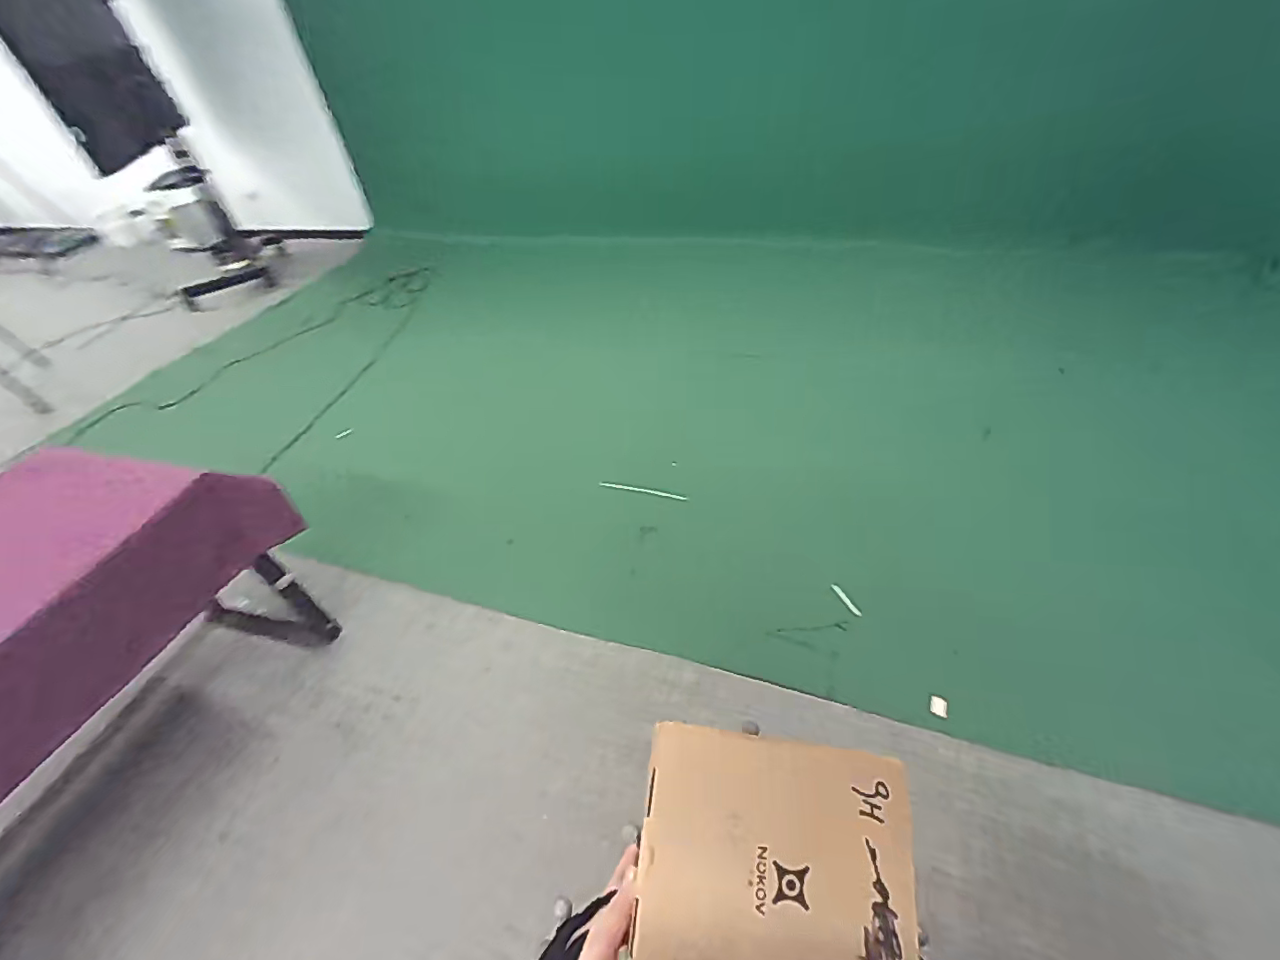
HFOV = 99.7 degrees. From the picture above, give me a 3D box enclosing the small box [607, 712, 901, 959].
[{"bbox_3d":[0.078,0.287,0.416,0.179,0.176,0.168,7,63,5],"label":"small box"}]
